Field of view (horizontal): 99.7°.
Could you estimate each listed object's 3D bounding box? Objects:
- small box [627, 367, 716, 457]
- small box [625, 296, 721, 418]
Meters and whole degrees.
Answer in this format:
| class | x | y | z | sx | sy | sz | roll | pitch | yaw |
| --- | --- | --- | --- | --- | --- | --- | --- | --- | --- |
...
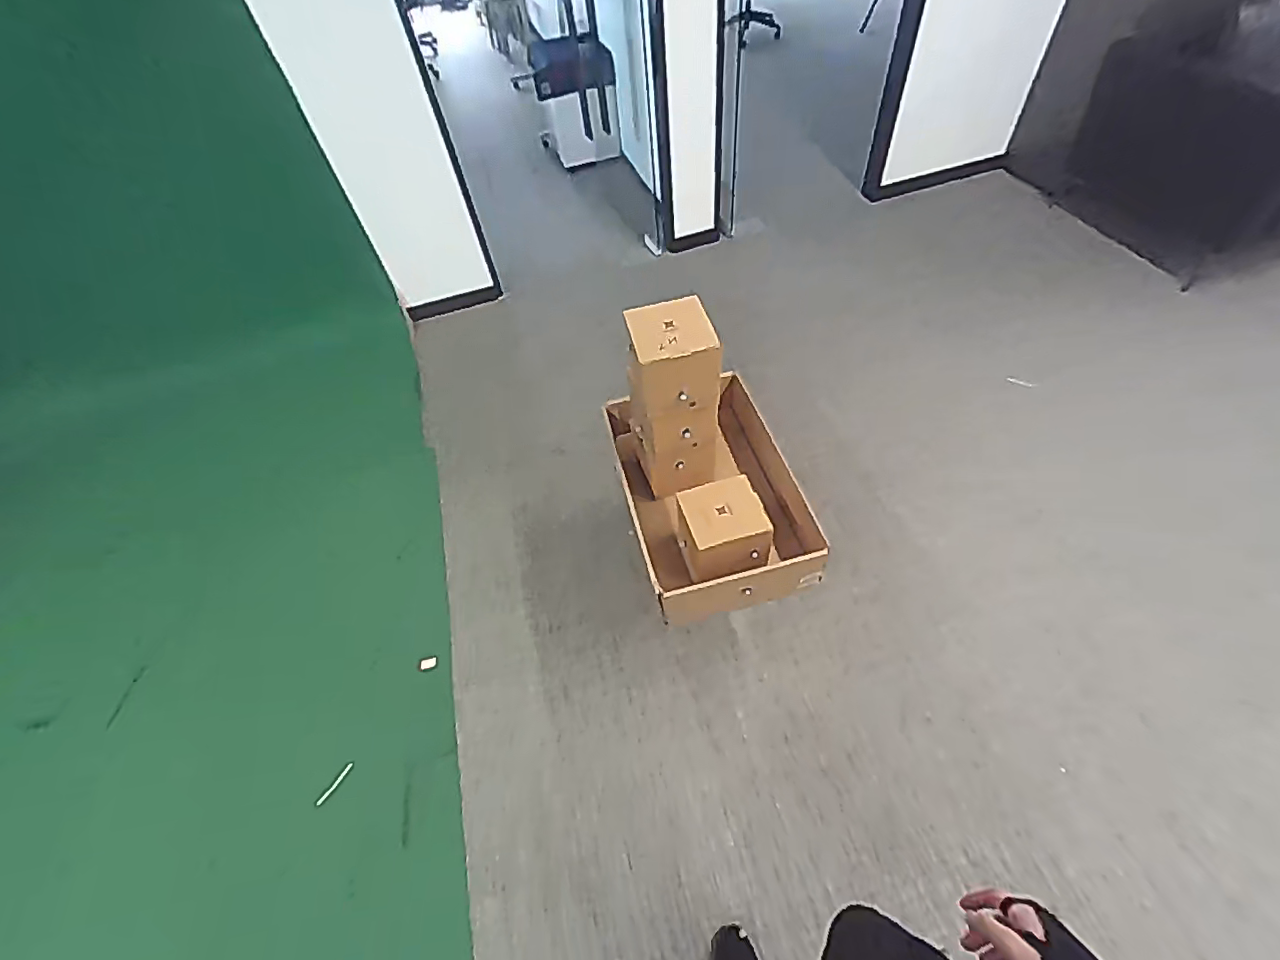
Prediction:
| class | x | y | z | sx | sy | sz | roll | pitch | yaw |
| --- | --- | --- | --- | --- | --- | --- | --- | --- | --- |
| small box | 0.079 | -0.177 | 1.304 | 0.168 | 0.176 | 0.179 | -19 | 55 | -8 |
| small box | 0.069 | -0.261 | 1.161 | 0.168 | 0.176 | 0.179 | -14 | 54 | -2 |
